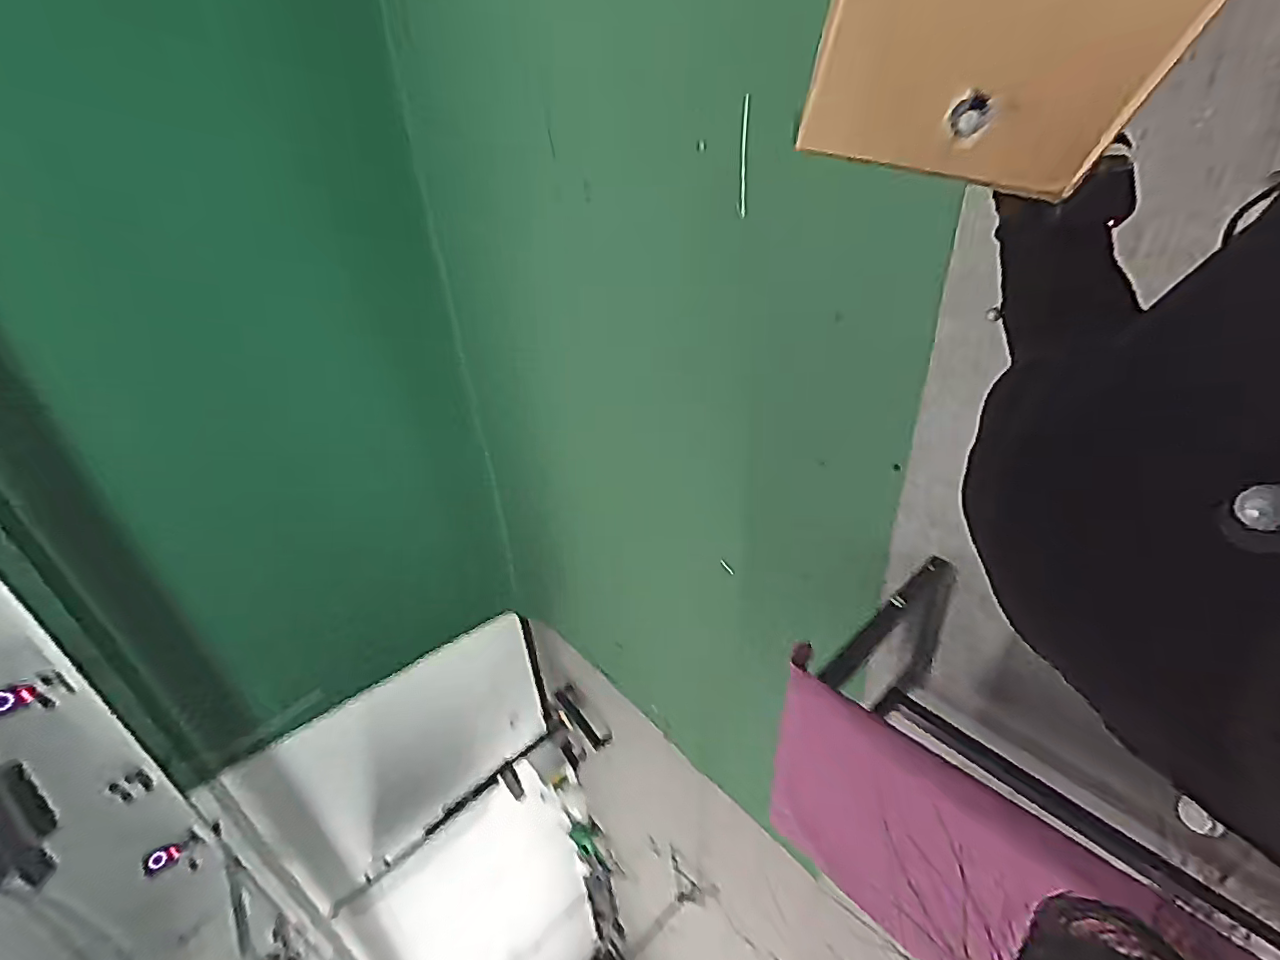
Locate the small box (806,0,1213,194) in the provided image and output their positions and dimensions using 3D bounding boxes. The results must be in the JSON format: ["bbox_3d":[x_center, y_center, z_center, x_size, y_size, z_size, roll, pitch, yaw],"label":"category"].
[{"bbox_3d":[0.215,-0.309,0.314,0.179,0.168,0.176,14,155,5],"label":"small box"}]
